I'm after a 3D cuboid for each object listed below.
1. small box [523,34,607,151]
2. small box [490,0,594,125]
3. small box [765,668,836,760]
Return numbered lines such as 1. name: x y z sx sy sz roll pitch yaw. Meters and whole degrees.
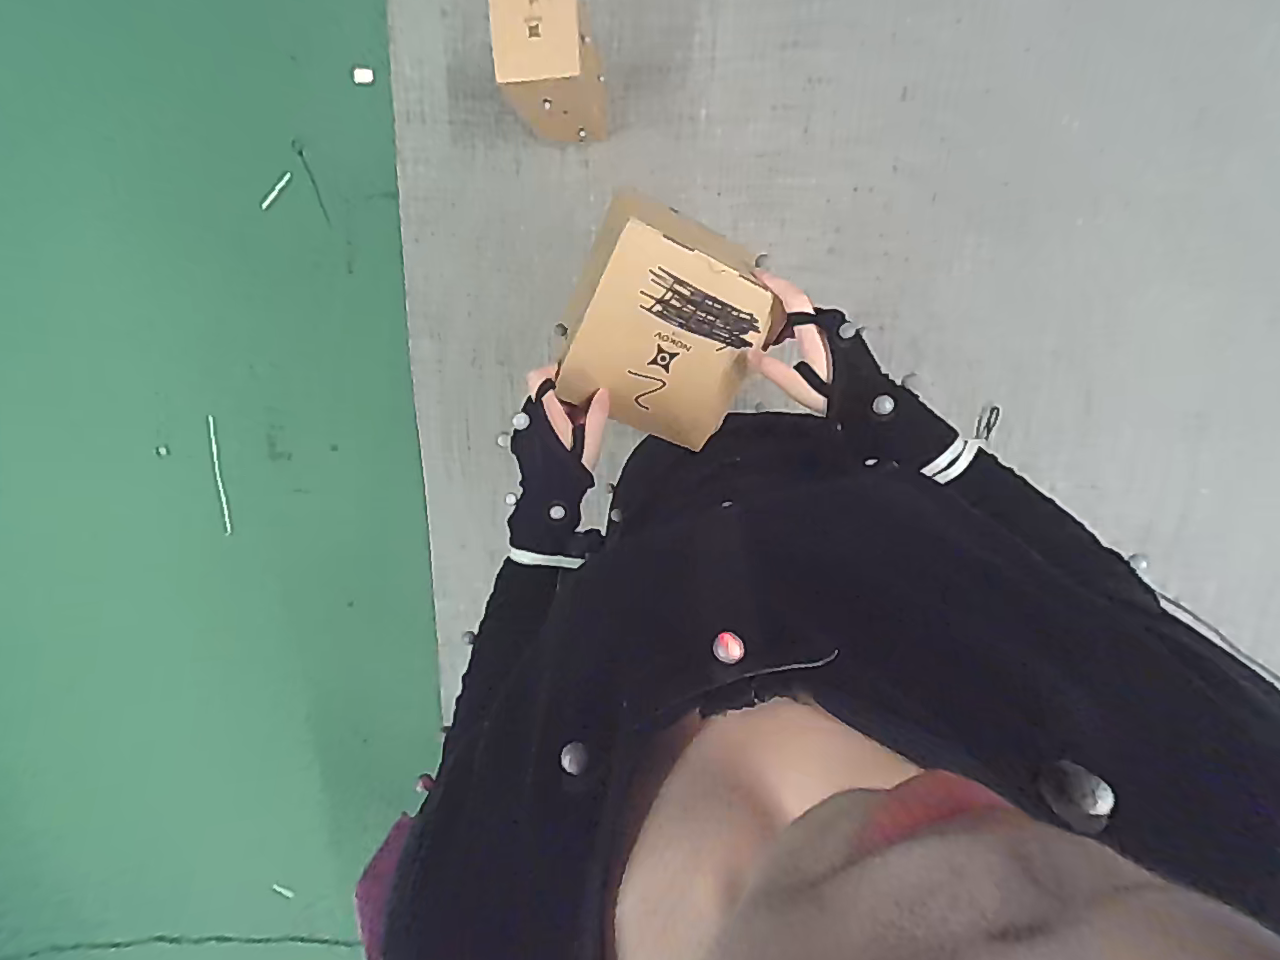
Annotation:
1. small box: -0.170 -0.884 1.254 0.168 0.176 0.179 1 102 6
2. small box: -0.190 -0.846 1.095 0.168 0.176 0.179 -1 102 5
3. small box: 0.444 0.649 1.521 0.168 0.176 0.179 1 101 8
